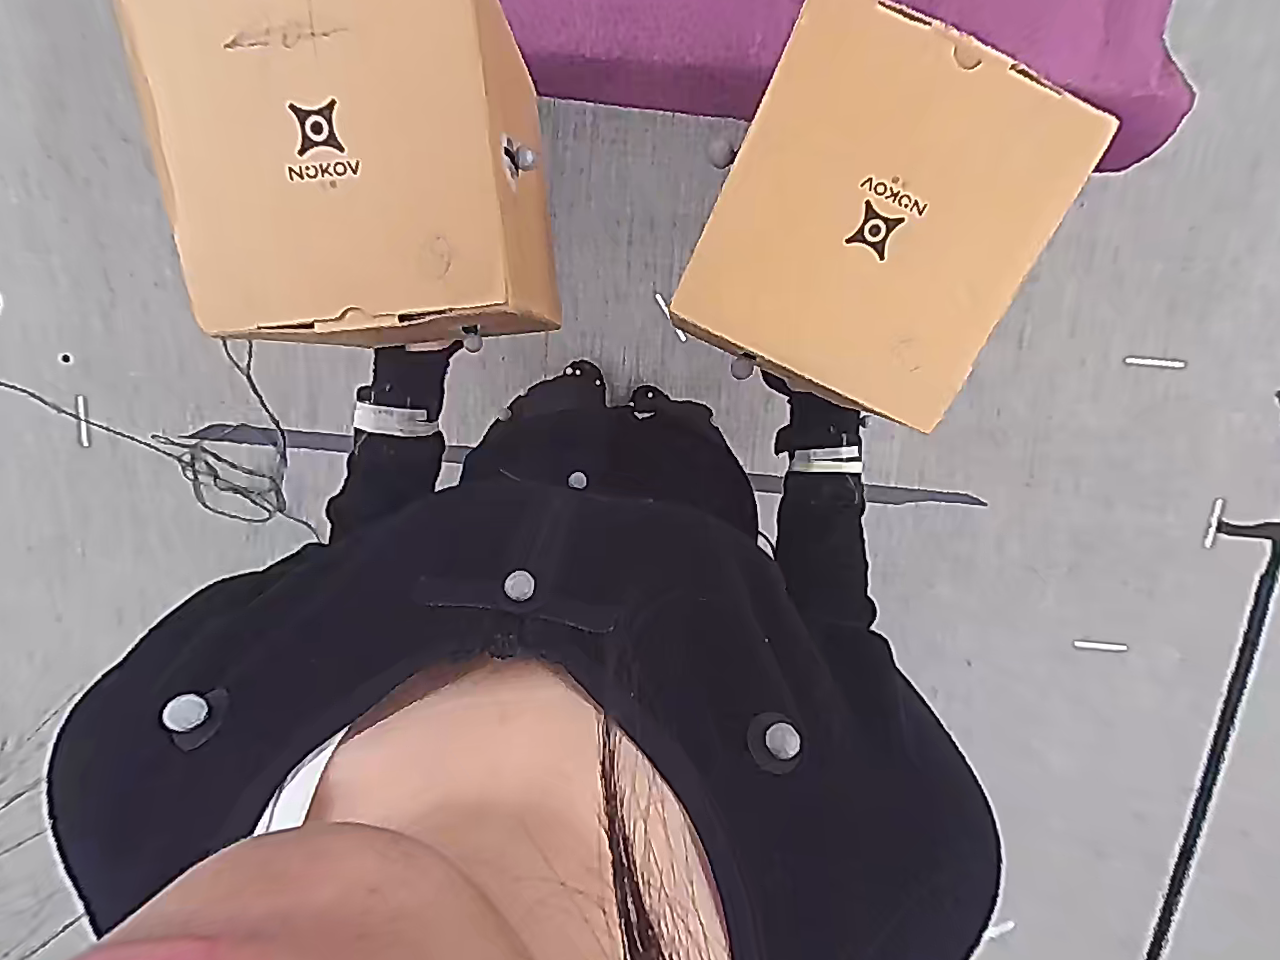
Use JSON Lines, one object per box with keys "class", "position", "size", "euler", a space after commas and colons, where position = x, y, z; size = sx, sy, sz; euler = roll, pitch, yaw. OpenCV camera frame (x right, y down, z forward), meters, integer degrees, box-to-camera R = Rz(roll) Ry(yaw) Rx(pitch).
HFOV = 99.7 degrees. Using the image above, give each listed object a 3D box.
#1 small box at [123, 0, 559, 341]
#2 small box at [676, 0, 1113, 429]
{"class": "small box", "position": [-0.151, -0.184, 0.341], "size": [0.168, 0.176, 0.179], "euler": [-6, 101, 1]}
{"class": "small box", "position": [0.133, -0.151, 0.360], "size": [0.168, 0.176, 0.179], "euler": [23, 101, -1]}
